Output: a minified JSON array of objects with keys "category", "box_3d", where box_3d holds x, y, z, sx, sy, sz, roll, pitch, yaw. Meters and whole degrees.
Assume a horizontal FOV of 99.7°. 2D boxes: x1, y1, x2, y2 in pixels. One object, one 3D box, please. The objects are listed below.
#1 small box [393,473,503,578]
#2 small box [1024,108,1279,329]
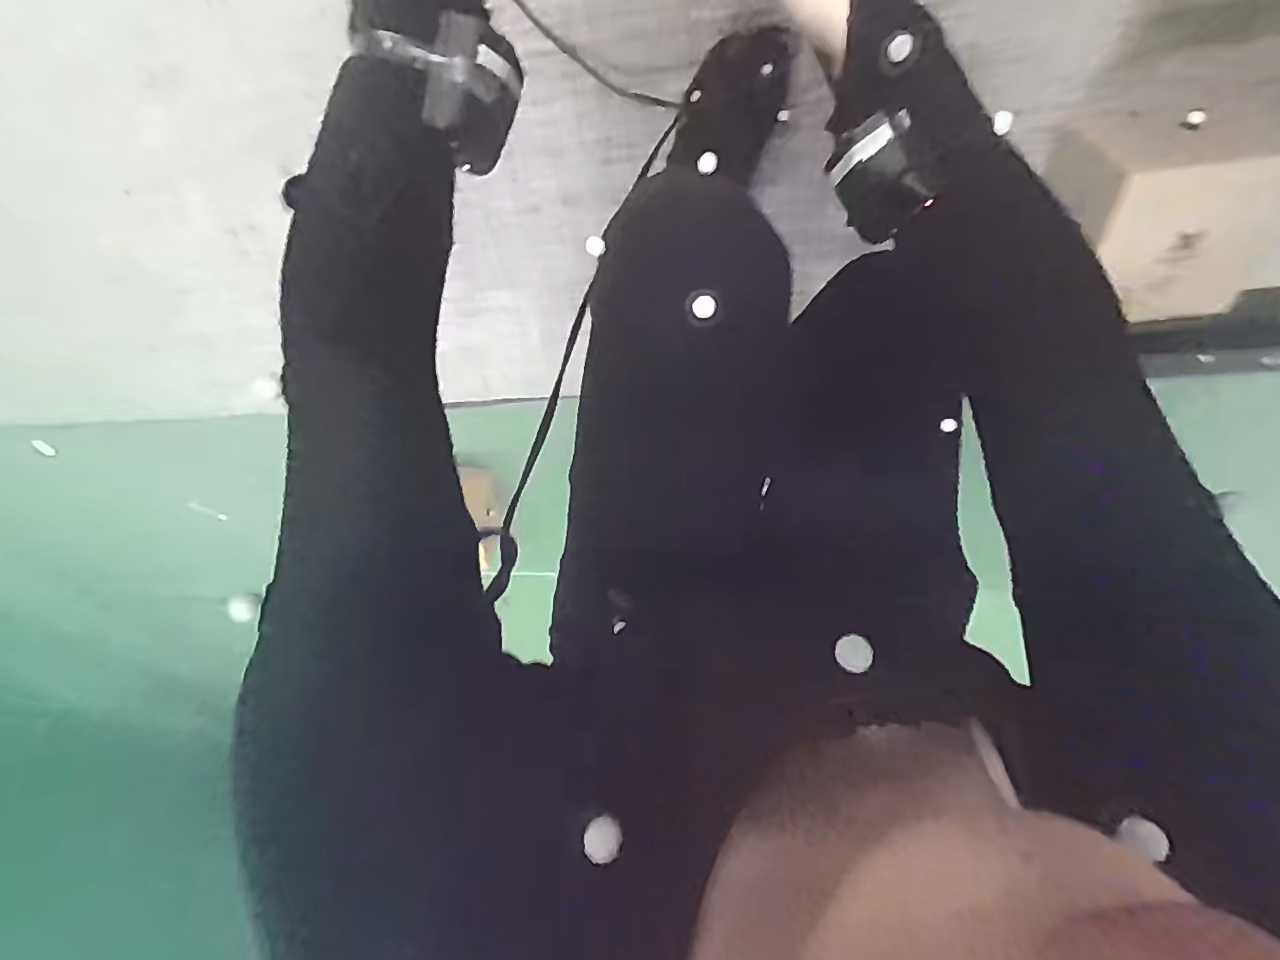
[{"category":"small box","box_3d":[-0.422,0.102,1.229,0.179,0.176,0.168,6,138,5]},{"category":"small box","box_3d":[0.578,-0.300,0.619,0.168,0.176,0.179,-2,138,12]}]
